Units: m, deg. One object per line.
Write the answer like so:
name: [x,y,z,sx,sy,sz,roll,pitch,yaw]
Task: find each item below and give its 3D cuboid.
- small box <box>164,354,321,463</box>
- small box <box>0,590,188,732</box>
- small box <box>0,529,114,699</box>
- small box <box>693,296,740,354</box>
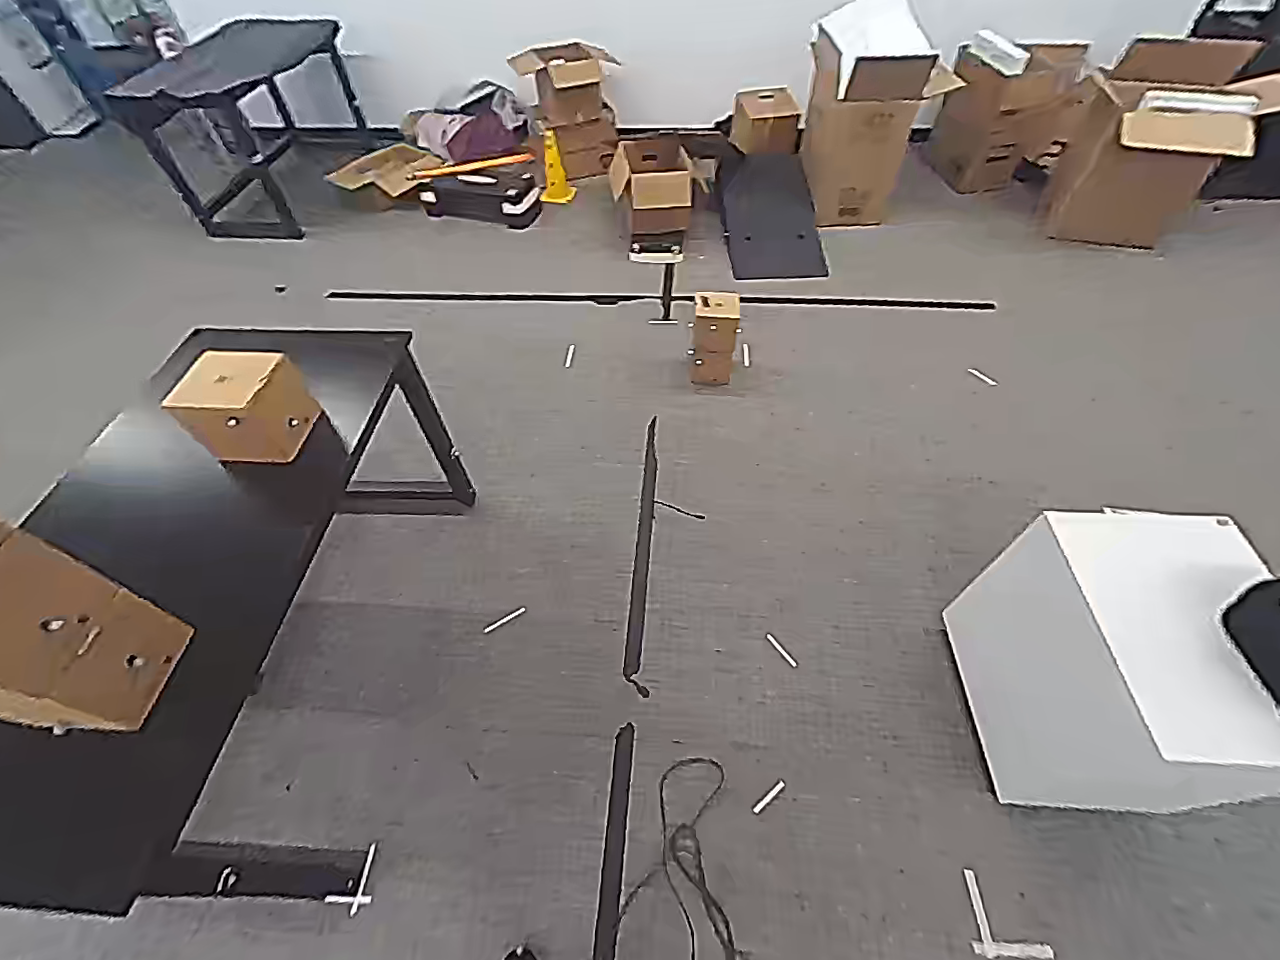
small box: [-0.830,-0.149,1.151,0.179,0.176,0.168,2,52,3]
small box: [-0.857,0.274,0.822,0.179,0.176,0.168,1,52,2]
small box: [-0.863,0.173,0.693,0.179,0.176,0.168,1,53,3]
small box: [0.307,-0.627,2.196,0.179,0.176,0.168,3,52,3]
